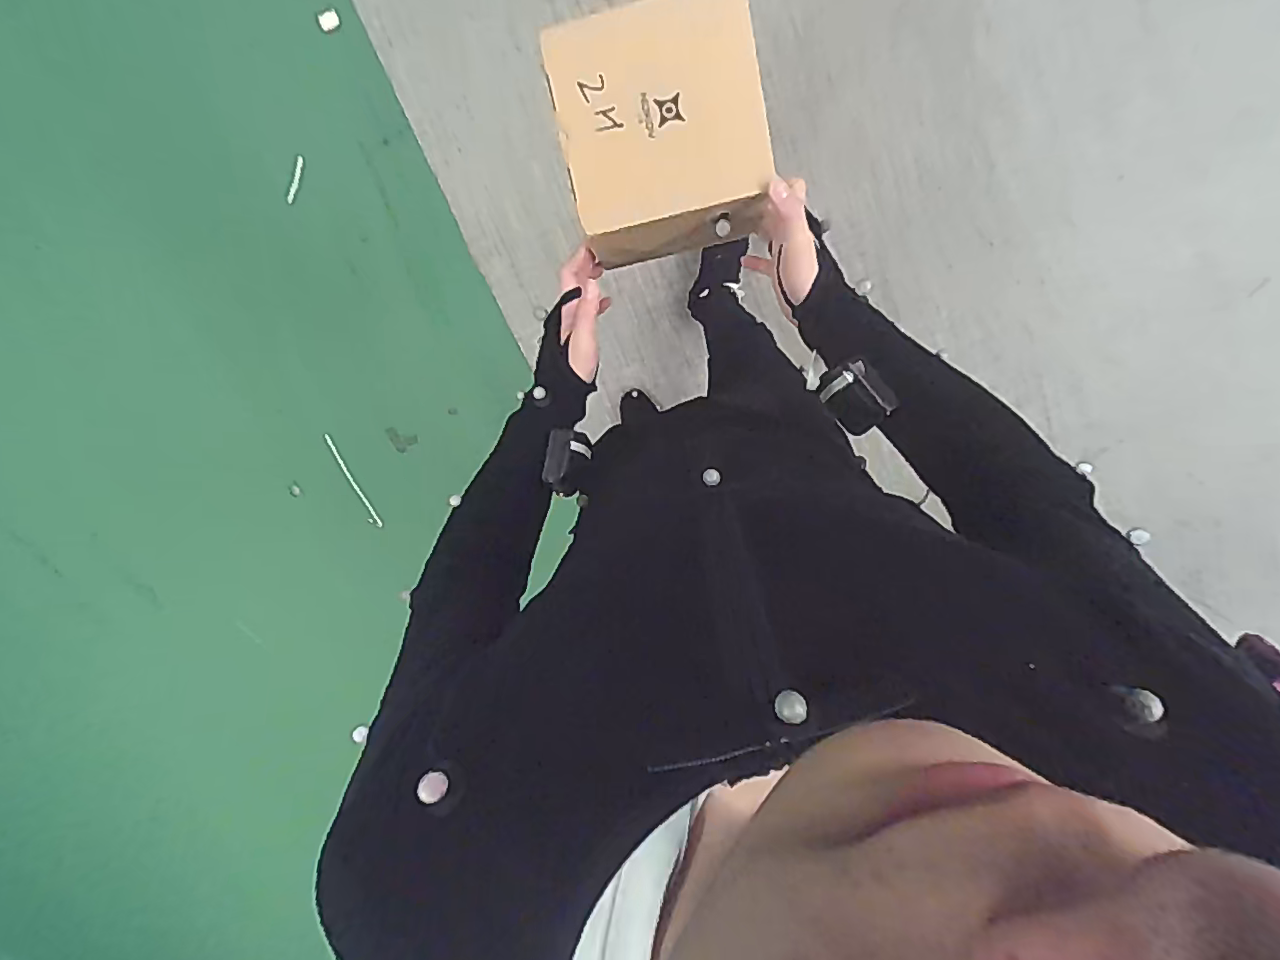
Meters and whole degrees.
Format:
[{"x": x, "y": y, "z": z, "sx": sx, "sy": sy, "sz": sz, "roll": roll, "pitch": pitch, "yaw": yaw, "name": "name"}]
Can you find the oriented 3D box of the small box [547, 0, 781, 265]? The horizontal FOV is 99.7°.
[{"x": 0.025, "y": -0.327, "z": 0.534, "sx": 0.179, "sy": 0.176, "sz": 0.168, "roll": -11, "pitch": 101, "yaw": 6, "name": "small box"}]
